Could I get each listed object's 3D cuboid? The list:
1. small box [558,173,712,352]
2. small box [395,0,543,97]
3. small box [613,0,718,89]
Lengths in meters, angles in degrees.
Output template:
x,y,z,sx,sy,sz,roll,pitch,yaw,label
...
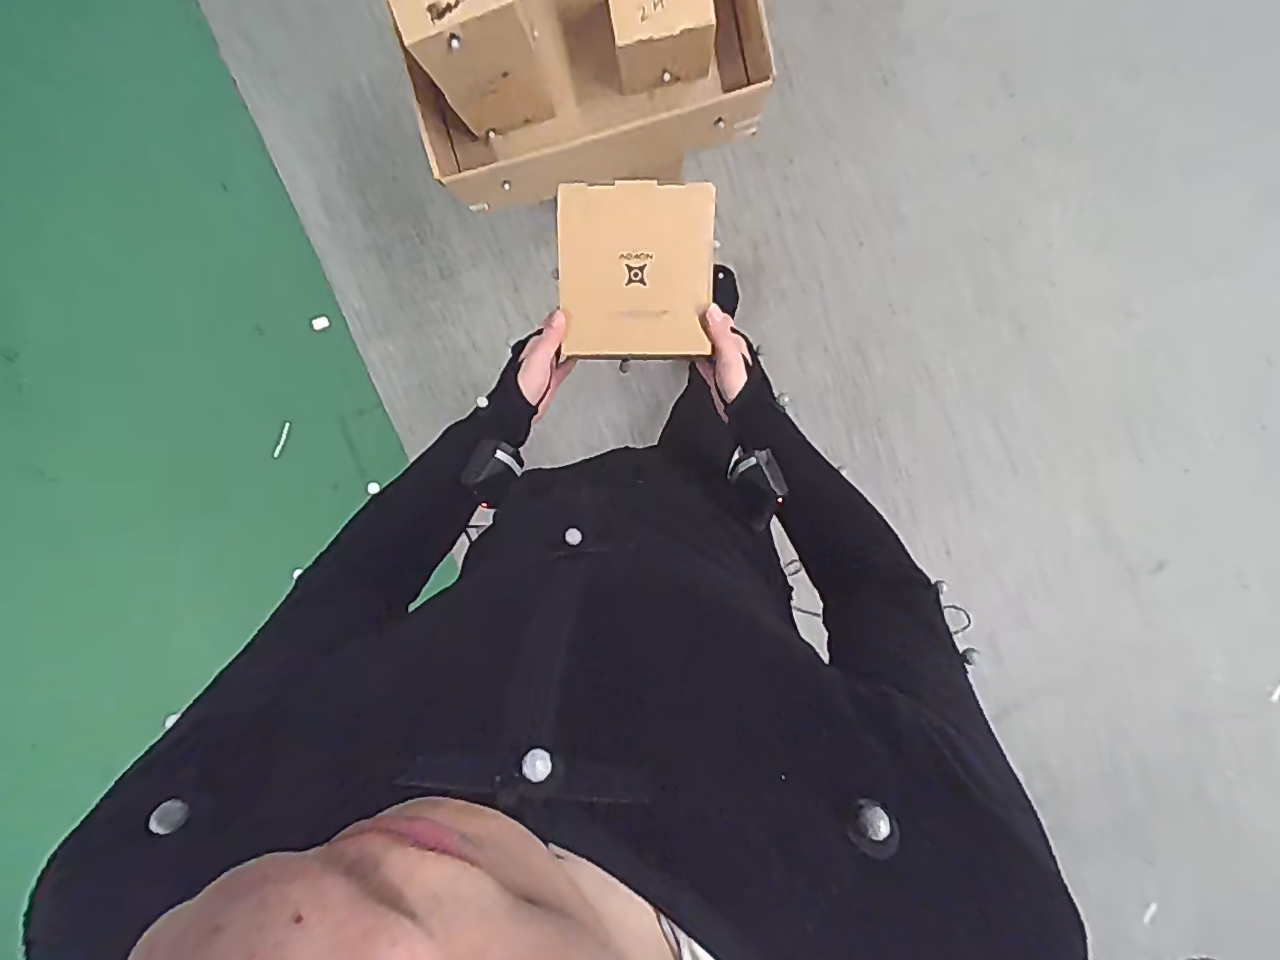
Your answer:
x,y,z,sx,sy,sz,roll,pitch,yaw,label
-0.005,-0.250,0.659,0.168,0.176,0.179,1,102,2,small box
-0.263,-0.728,0.808,0.168,0.176,0.179,-16,100,8,small box
0.038,-0.825,0.932,0.168,0.176,0.179,-9,102,6,small box
